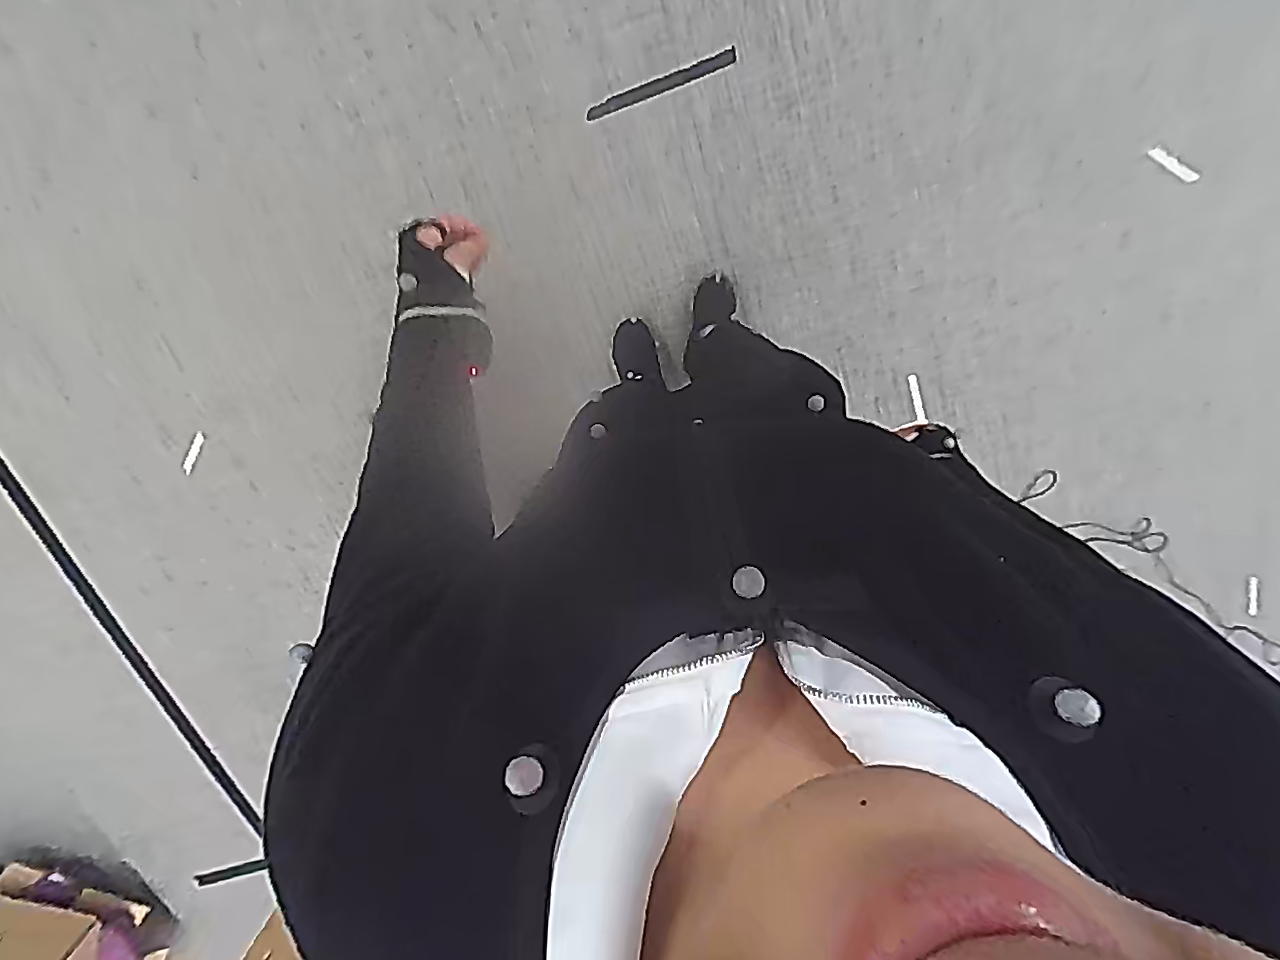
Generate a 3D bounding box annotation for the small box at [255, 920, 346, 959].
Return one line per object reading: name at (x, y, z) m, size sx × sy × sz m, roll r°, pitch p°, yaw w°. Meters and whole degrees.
small box at (-0.962, 1.373, 1.493) m, size 0.179 × 0.176 × 0.168 m, roll -20°, pitch 105°, yaw 5°
